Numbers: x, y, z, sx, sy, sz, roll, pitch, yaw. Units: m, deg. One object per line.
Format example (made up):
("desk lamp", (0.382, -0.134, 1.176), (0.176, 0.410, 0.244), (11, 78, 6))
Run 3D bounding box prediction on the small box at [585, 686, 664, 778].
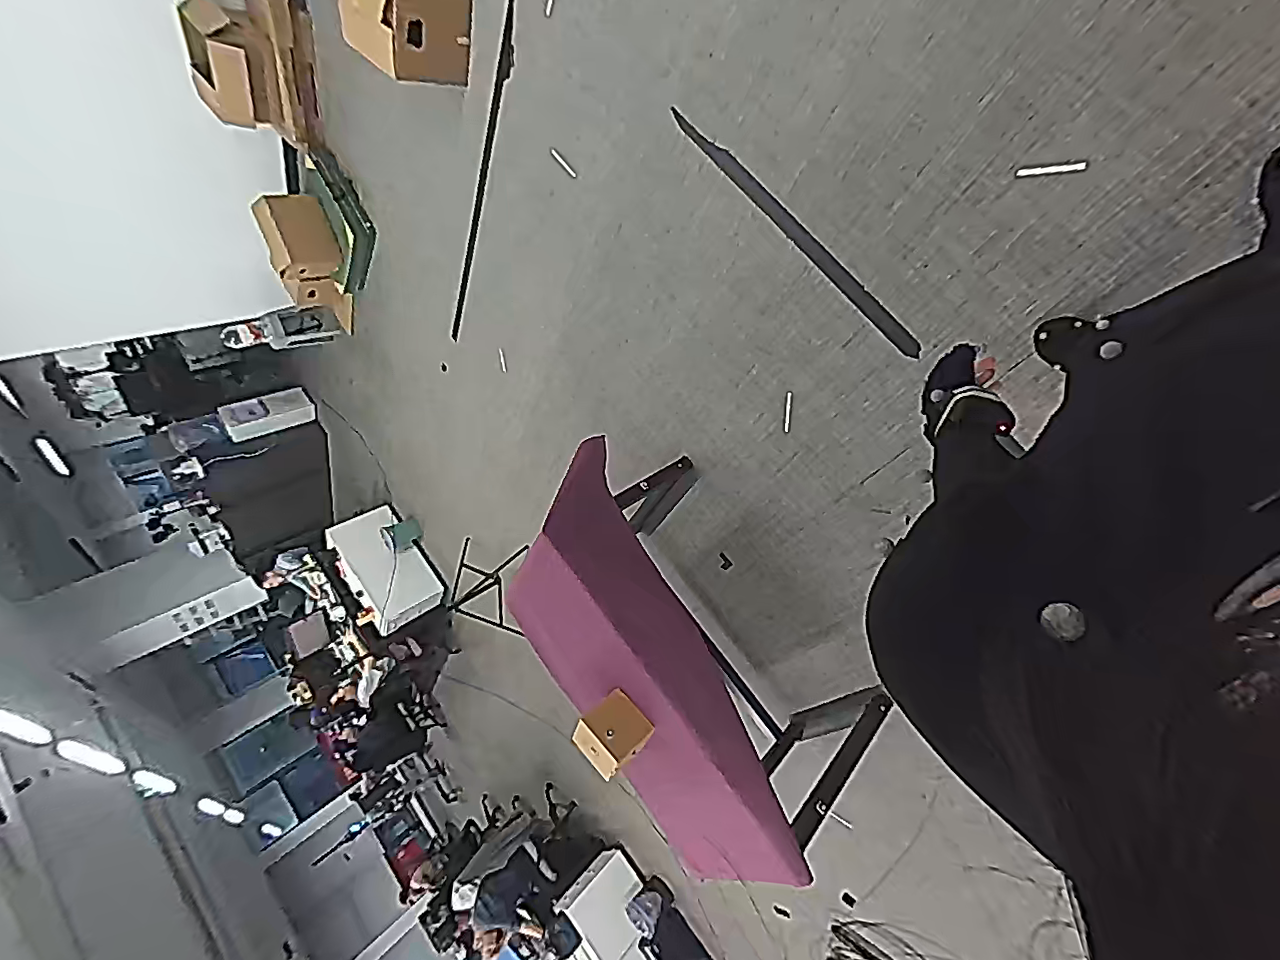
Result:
("small box", (-0.048, 0.801, 1.729), (0.179, 0.176, 0.168), (42, 137, 25))
